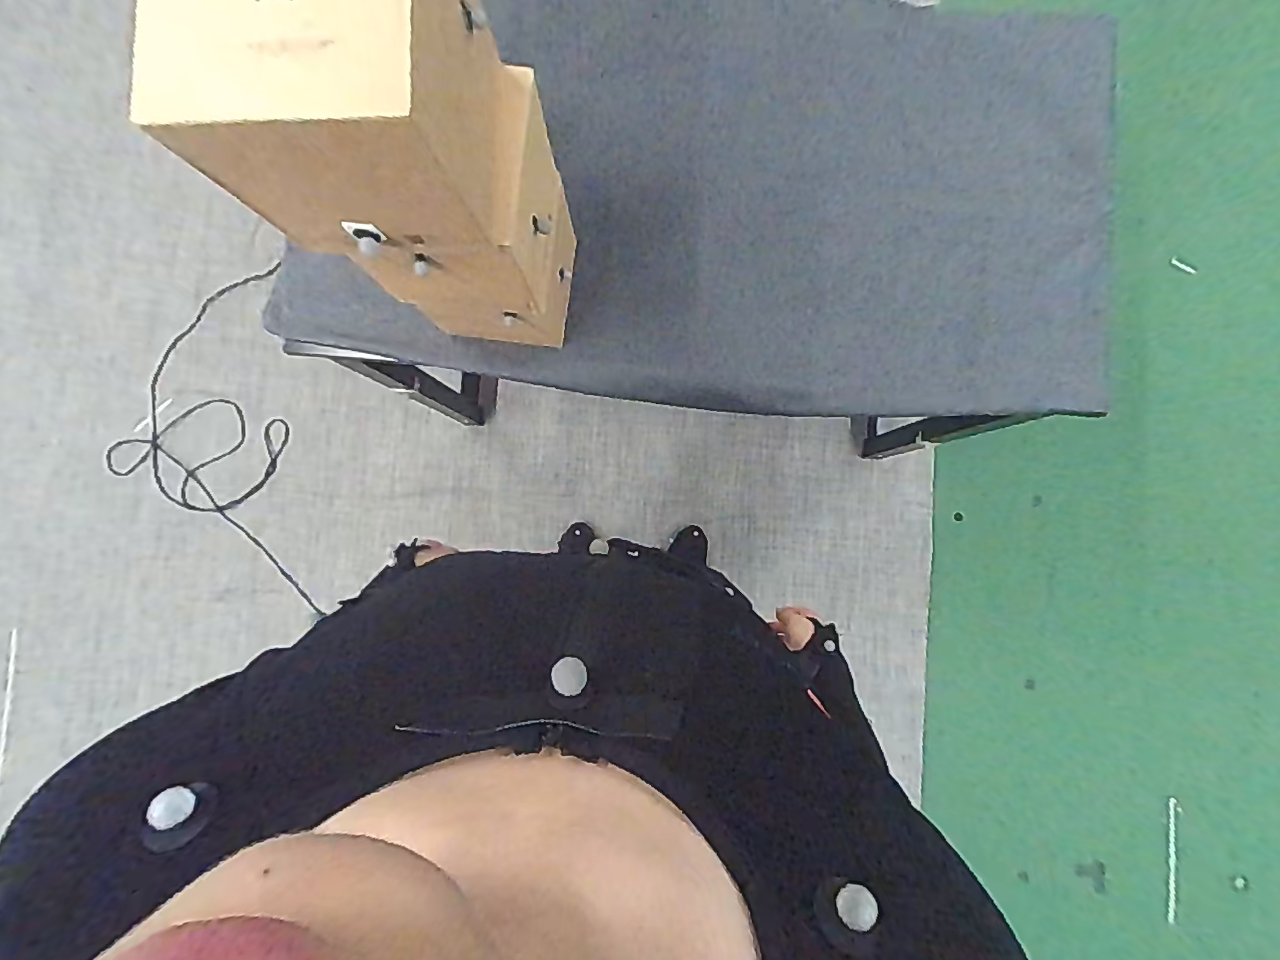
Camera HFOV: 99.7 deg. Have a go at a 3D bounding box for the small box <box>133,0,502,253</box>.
[{"bbox_3d":[-0.205,-0.288,0.391,0.168,0.176,0.179,0,88,3],"label":"small box"}]

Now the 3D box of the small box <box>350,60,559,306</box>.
[{"bbox_3d":[-0.186,-0.290,0.553,0.179,0.176,0.168,6,87,2],"label":"small box"}]

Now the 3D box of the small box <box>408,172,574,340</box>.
[{"bbox_3d":[-0.189,-0.294,0.716,0.179,0.176,0.168,7,87,2],"label":"small box"}]
